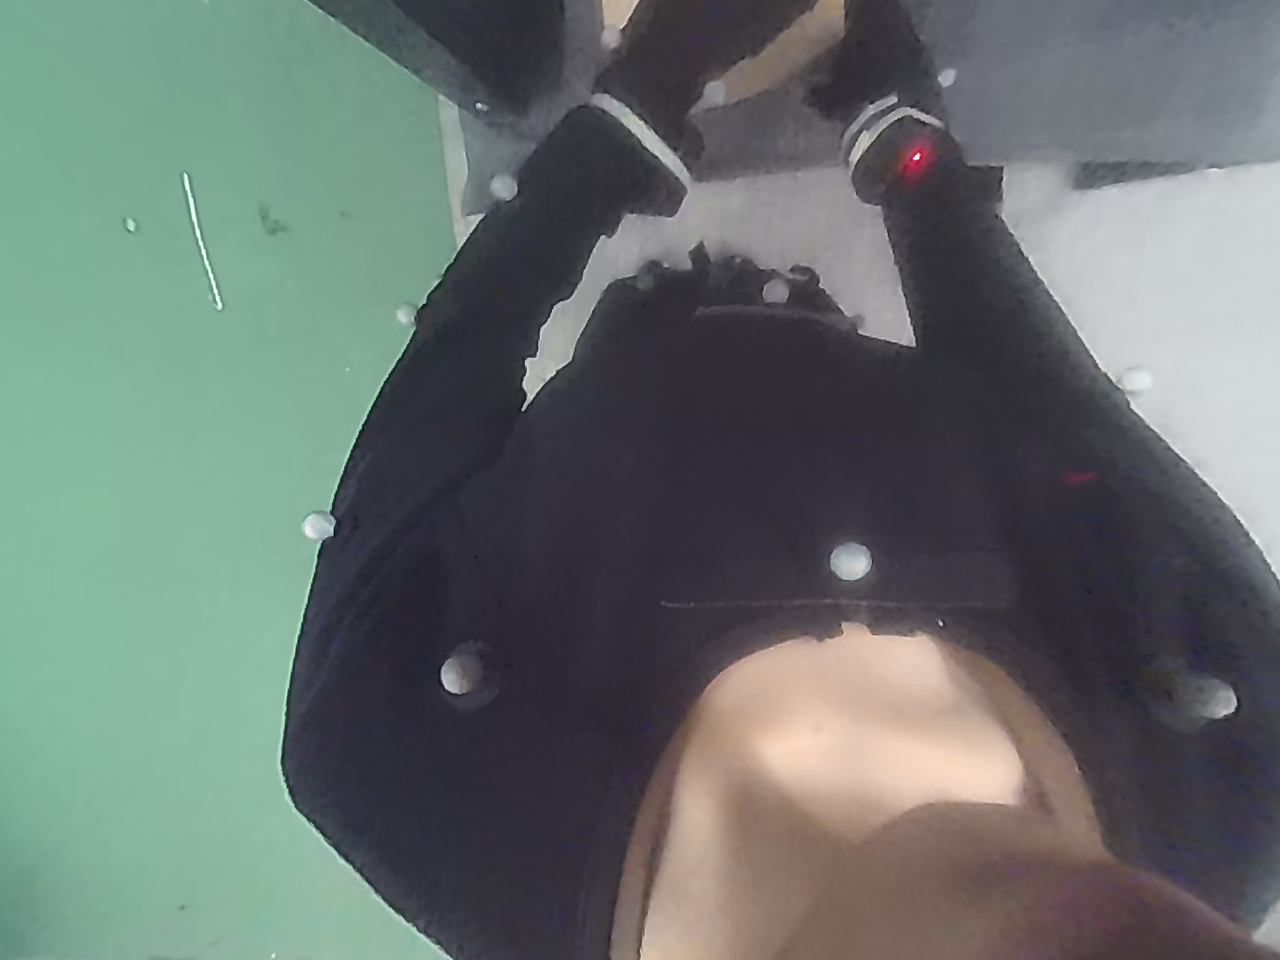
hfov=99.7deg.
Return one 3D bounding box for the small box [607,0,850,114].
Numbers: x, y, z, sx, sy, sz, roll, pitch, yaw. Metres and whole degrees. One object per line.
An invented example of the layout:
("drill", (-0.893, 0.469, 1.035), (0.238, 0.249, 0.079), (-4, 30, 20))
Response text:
("small box", (0.077, -0.447, 0.445), (0.168, 0.176, 0.179), (3, 105, 28))
